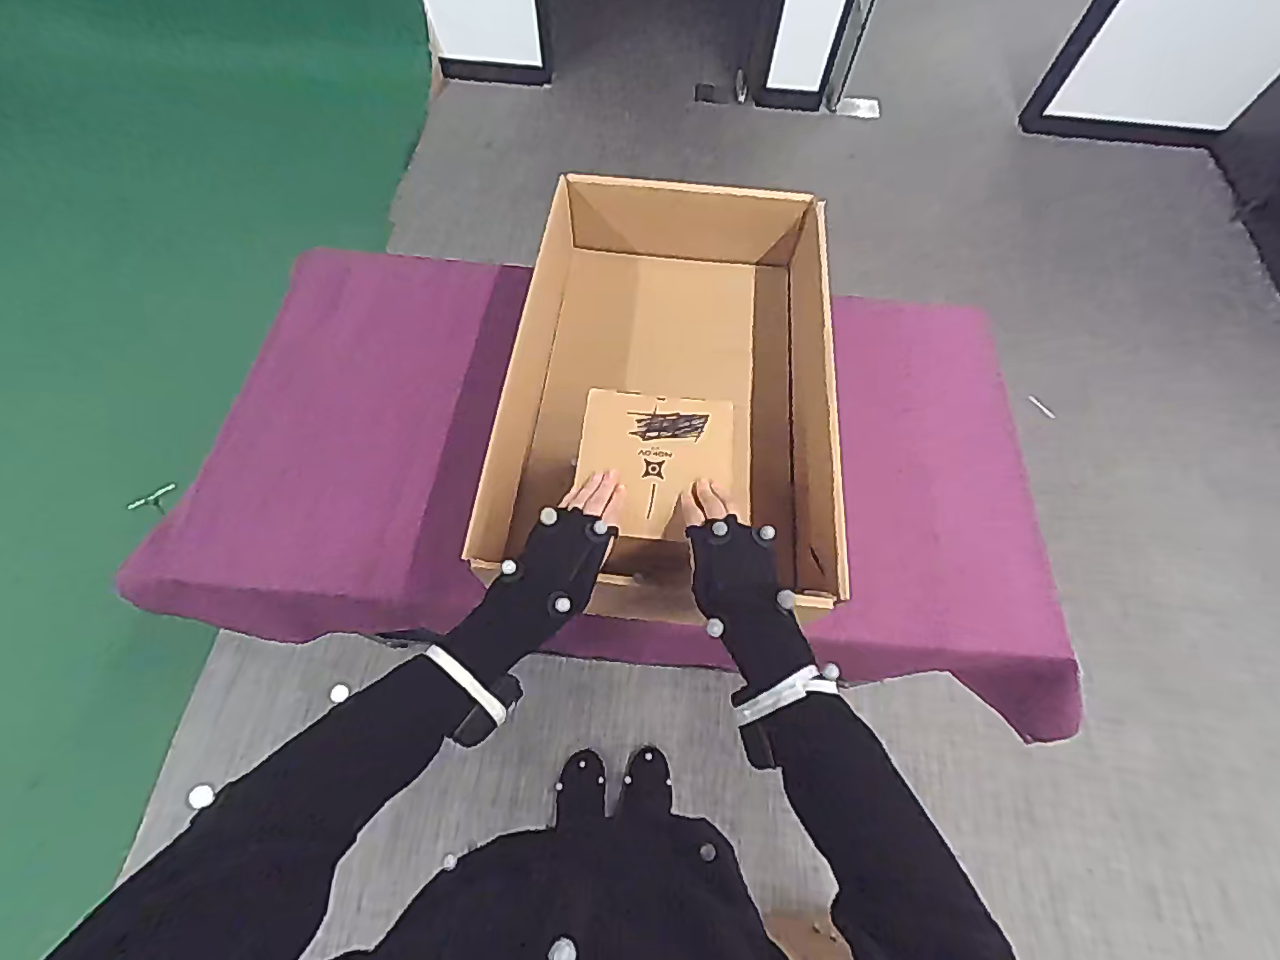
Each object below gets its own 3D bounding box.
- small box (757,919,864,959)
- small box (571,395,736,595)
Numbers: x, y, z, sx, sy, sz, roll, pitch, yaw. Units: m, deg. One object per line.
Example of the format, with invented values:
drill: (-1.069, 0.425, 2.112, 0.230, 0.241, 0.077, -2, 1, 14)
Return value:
small box: (0.333, 0.988, 1.060, 0.179, 0.176, 0.168, 1, 64, -2)
small box: (0.016, 0.024, 0.645, 0.168, 0.176, 0.179, 5, 64, 1)
